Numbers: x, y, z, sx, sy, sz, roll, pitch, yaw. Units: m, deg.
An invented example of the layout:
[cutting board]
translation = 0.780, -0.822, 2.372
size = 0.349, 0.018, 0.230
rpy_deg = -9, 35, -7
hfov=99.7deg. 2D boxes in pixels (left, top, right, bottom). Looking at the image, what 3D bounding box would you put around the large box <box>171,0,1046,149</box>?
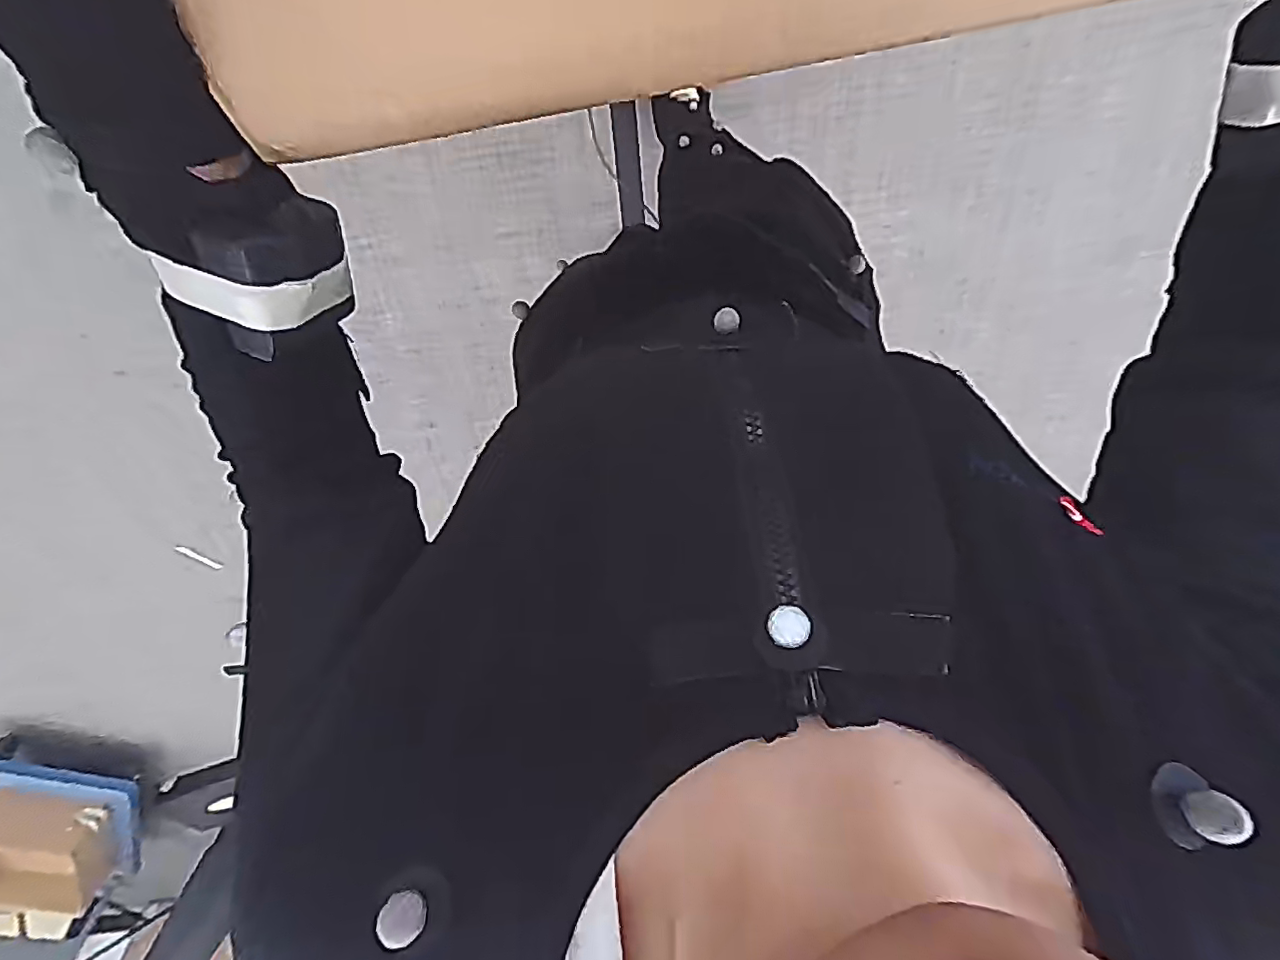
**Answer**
[large box]
translation = 0.005, -0.377, 0.176
size = 0.408, 0.320, 0.320
rpy_deg = -8, 145, 4
